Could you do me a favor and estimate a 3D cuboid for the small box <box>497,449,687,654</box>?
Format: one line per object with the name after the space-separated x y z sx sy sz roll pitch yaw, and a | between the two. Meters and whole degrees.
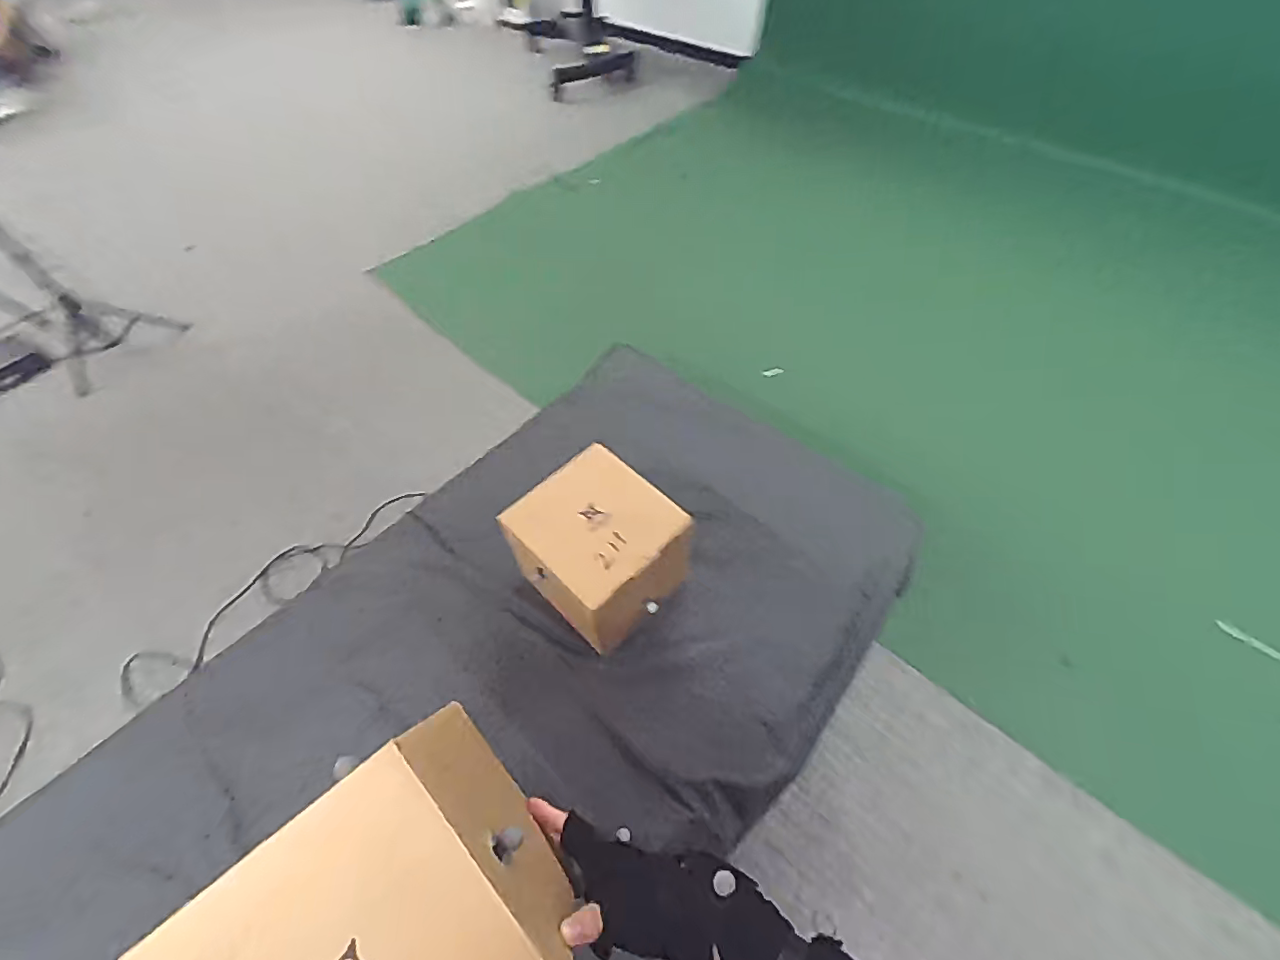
-0.058 0.099 0.719 0.168 0.176 0.179 -40 63 -23 | small box

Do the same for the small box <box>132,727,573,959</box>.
-0.162 0.293 0.363 0.168 0.176 0.179 -37 83 -14 | small box
